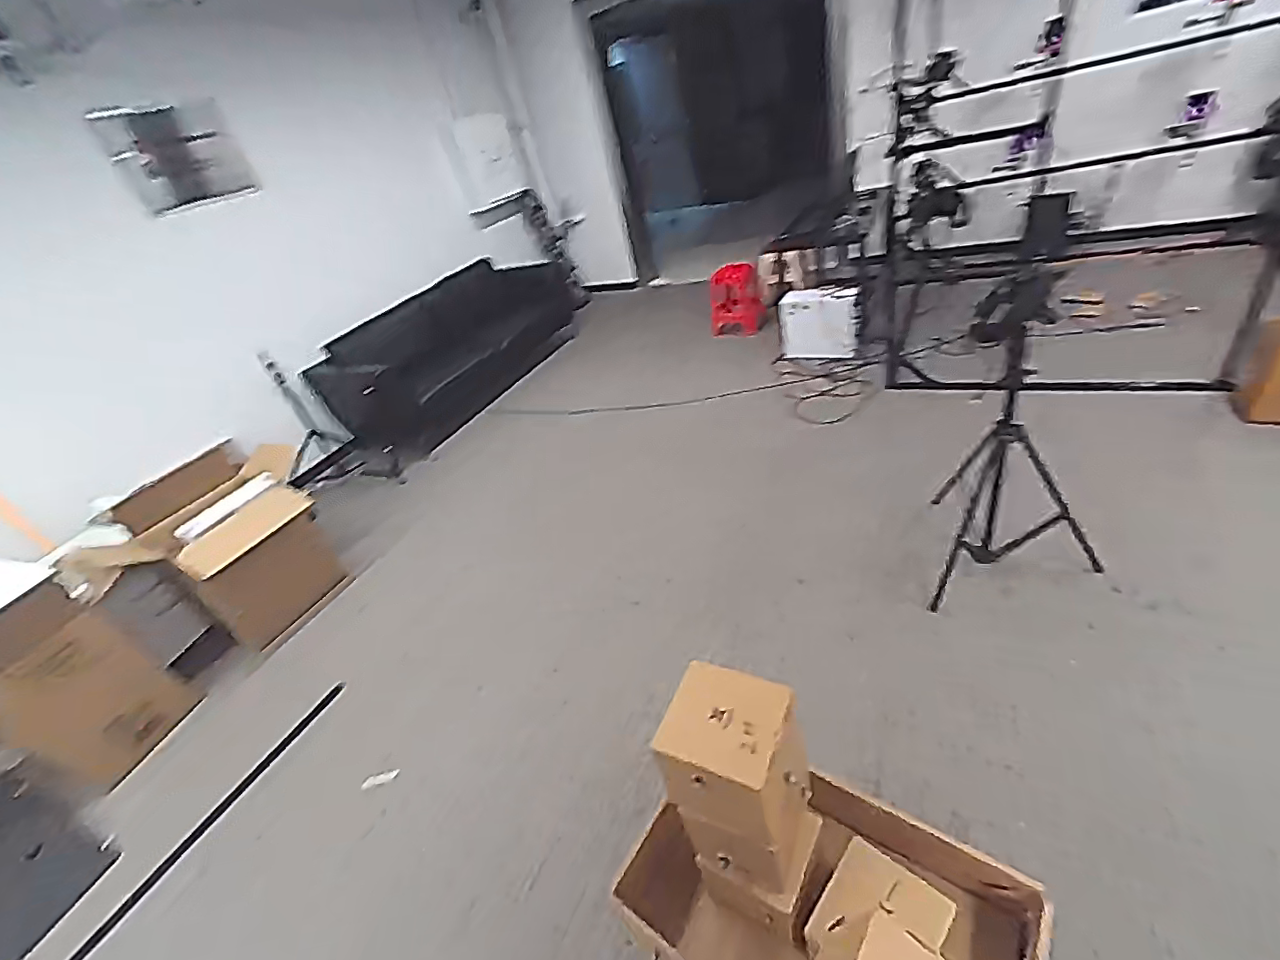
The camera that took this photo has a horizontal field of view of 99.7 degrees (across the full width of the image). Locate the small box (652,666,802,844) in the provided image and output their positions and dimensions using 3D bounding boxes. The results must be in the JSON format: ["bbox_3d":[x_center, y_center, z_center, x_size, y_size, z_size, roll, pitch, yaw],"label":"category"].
[{"bbox_3d":[0.145,0.430,0.852,0.179,0.176,0.168,6,39,31],"label":"small box"}]

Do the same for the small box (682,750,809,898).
[{"bbox_3d":[0.191,0.564,0.934,0.168,0.176,0.179,6,38,30],"label":"small box"}]

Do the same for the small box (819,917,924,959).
[{"bbox_3d":[0.238,0.580,0.512,0.168,0.176,0.179,30,46,25],"label":"small box"}]
